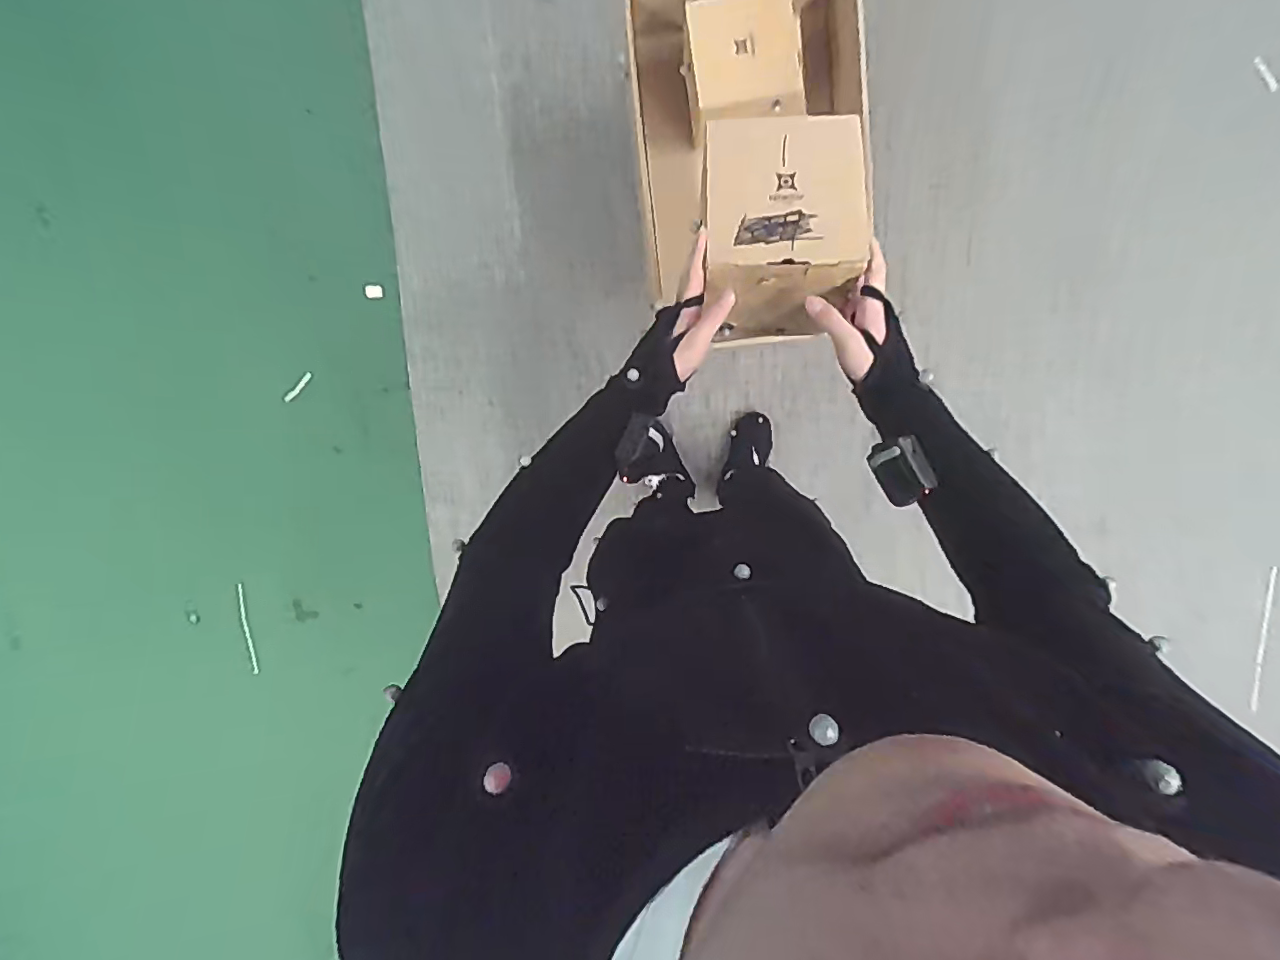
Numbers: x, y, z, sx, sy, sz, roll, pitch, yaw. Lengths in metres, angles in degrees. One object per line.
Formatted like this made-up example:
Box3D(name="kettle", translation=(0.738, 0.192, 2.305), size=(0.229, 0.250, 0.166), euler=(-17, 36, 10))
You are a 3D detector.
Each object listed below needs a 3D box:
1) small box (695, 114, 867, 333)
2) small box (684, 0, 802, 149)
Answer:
Box3D(name="small box", translation=(0.152, -0.284, 0.634), size=(0.168, 0.176, 0.179), euler=(1, 80, 3))
Box3D(name="small box", translation=(0.174, -0.724, 0.965), size=(0.179, 0.176, 0.168), euler=(-10, 99, 4))
